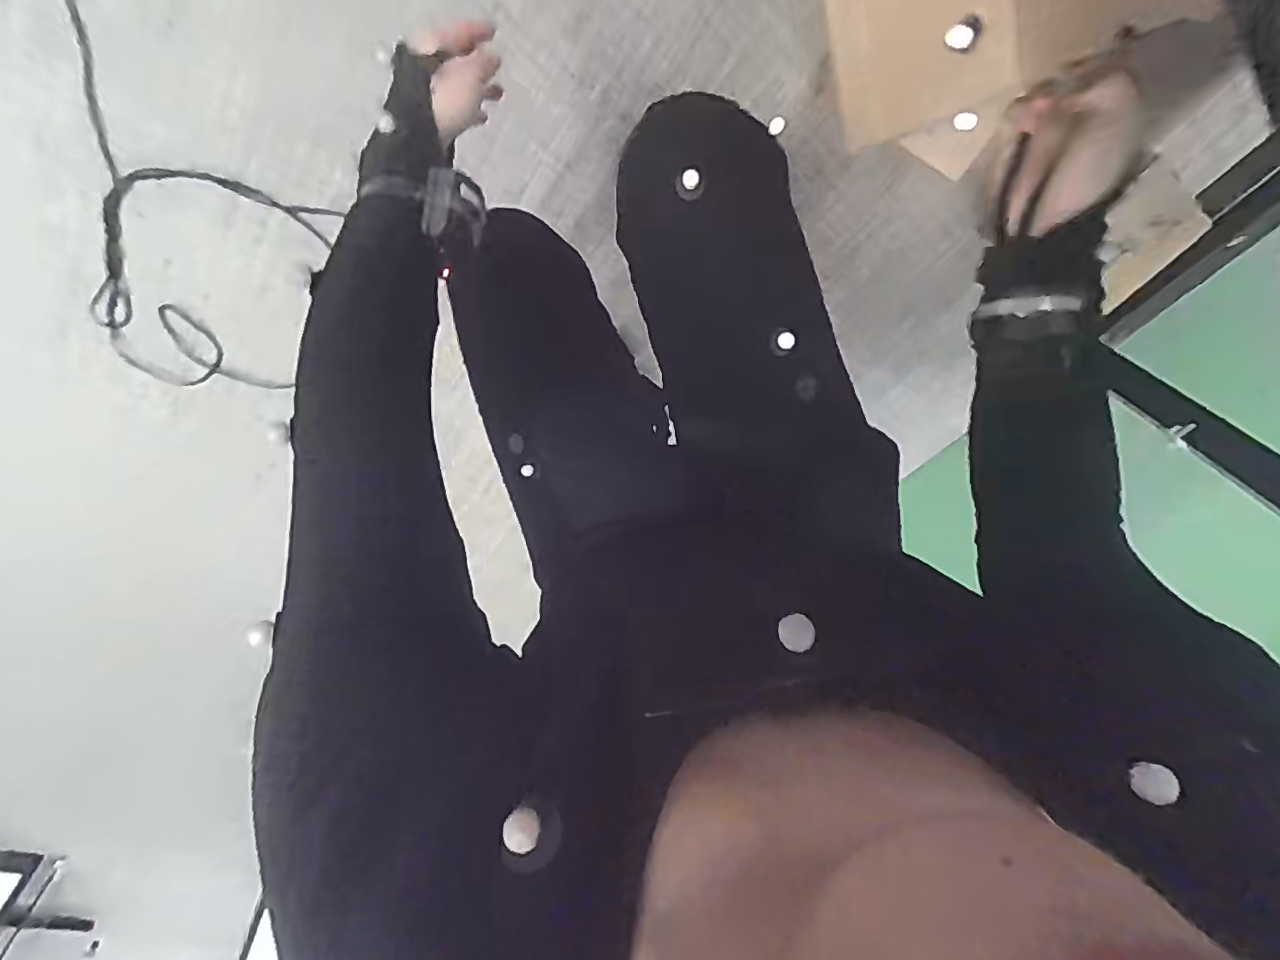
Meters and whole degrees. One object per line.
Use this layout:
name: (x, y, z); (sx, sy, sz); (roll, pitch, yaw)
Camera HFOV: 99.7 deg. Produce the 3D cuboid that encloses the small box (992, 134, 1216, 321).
small box: (0.682, -0.384, 0.823); (0.168, 0.176, 0.179); (24, 125, -23)
